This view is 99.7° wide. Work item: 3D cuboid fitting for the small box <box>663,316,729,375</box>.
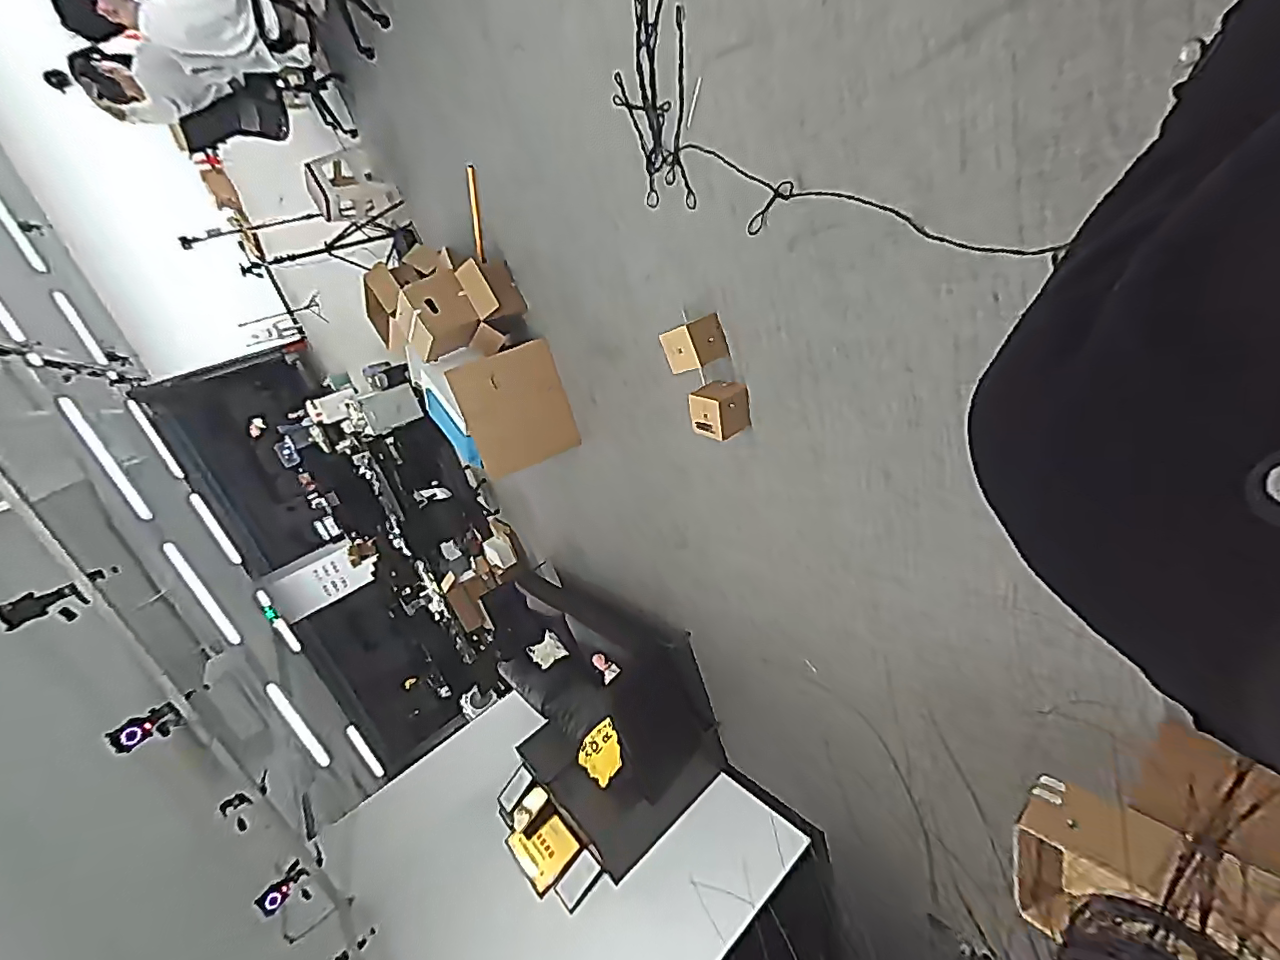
[{"bbox_3d":[0.226,-0.525,2.107,0.179,0.176,0.168,2,118,57],"label":"small box"}]
